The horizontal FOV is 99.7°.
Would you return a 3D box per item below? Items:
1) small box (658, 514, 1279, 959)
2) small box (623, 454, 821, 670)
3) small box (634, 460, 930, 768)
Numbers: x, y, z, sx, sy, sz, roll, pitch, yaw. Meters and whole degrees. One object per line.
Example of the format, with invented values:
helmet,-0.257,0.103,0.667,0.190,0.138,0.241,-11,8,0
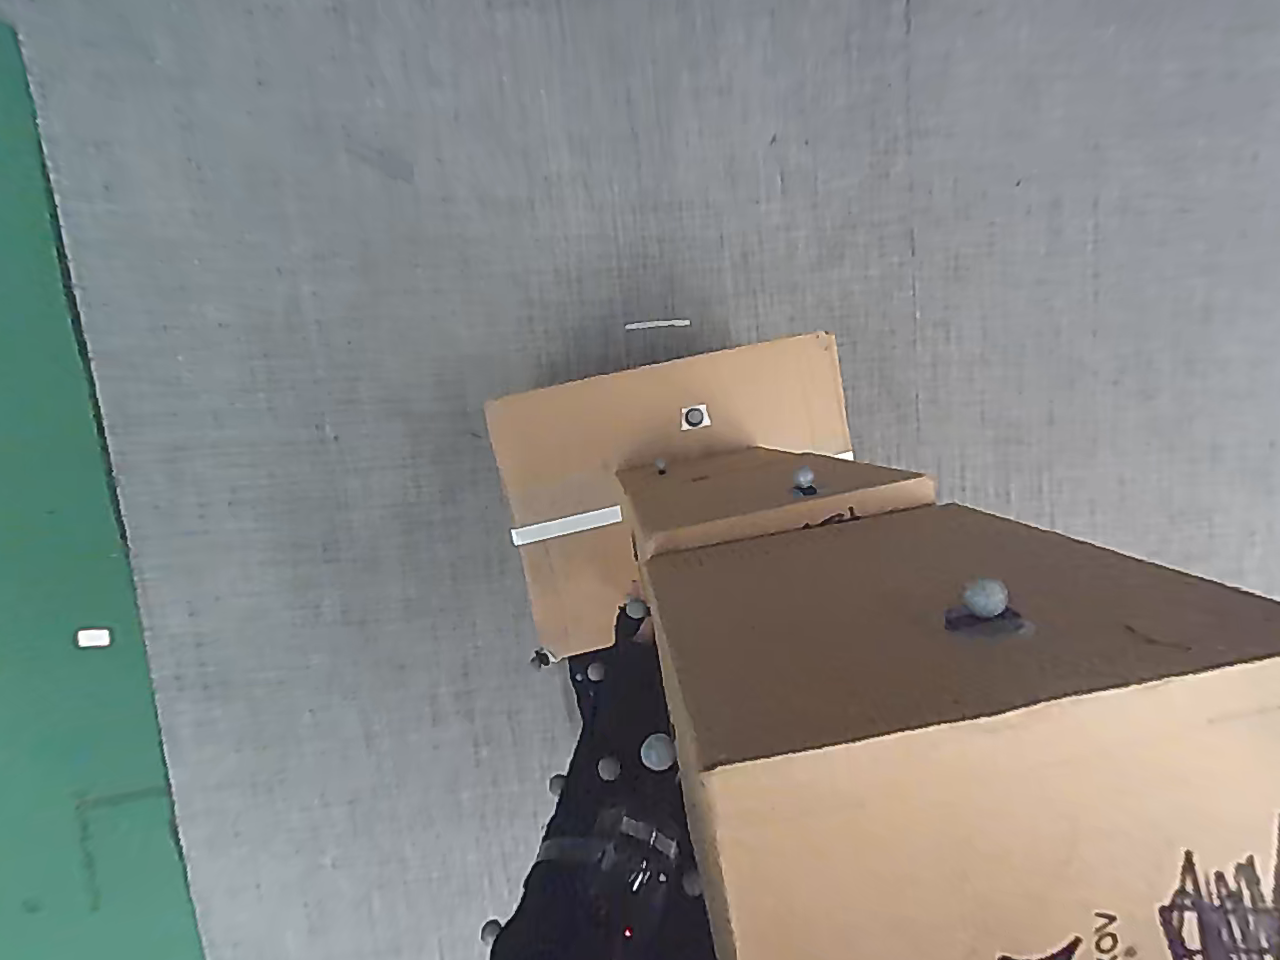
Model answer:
small box,0.110,0.119,0.235,0.179,0.176,0.168,-10,98,-1
small box,0.081,0.070,0.560,0.179,0.176,0.168,-12,98,-5
small box,0.093,0.090,0.397,0.168,0.176,0.179,-11,98,-3
